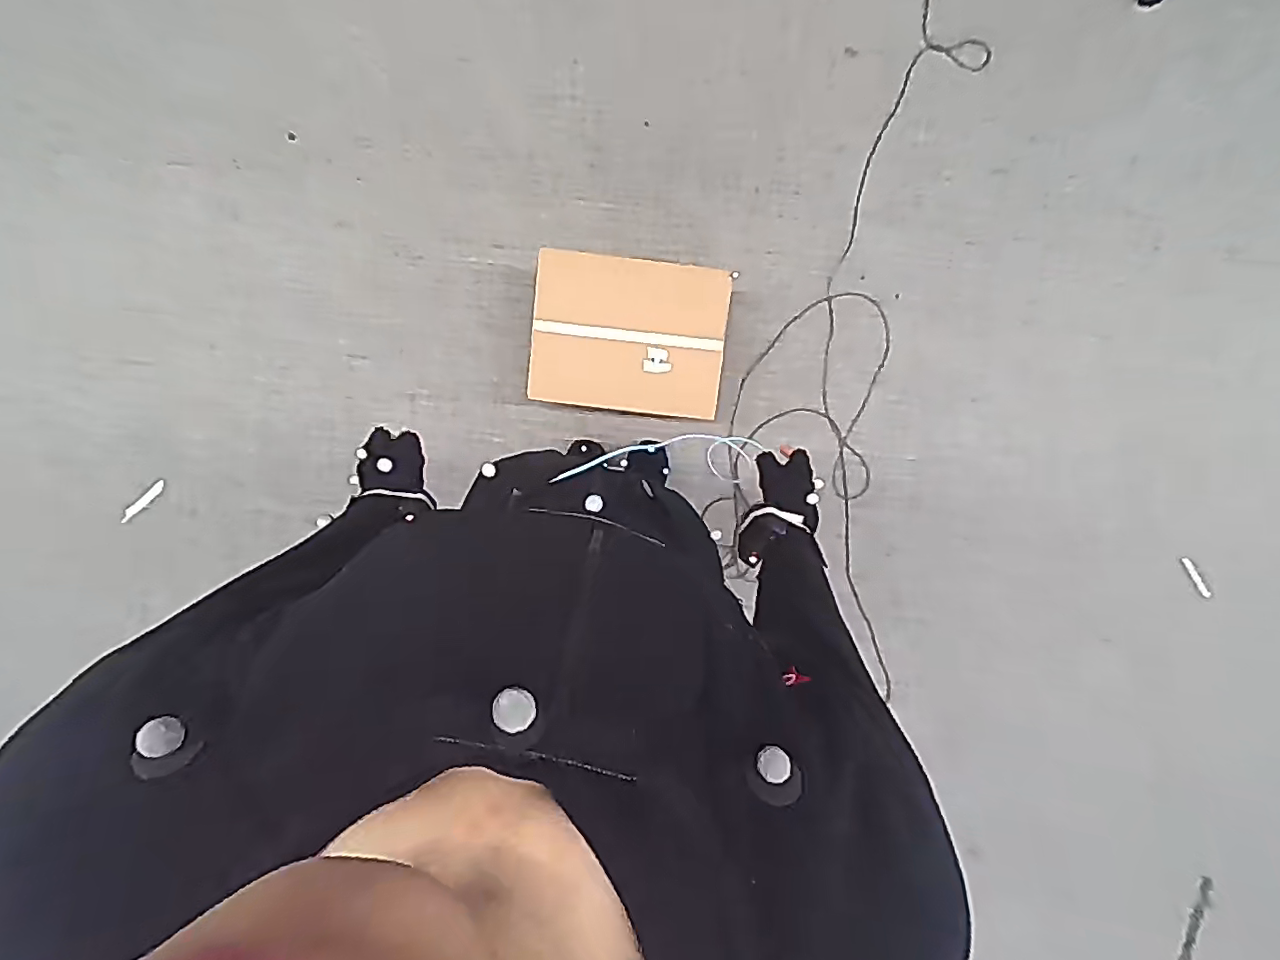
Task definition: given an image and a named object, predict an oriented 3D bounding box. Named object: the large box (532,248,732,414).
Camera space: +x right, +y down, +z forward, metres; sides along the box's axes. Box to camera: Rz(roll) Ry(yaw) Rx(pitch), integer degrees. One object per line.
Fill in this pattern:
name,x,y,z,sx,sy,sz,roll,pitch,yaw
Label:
large box,-0.025,-0.330,1.289,0.408,0.320,0.320,7,98,-2
